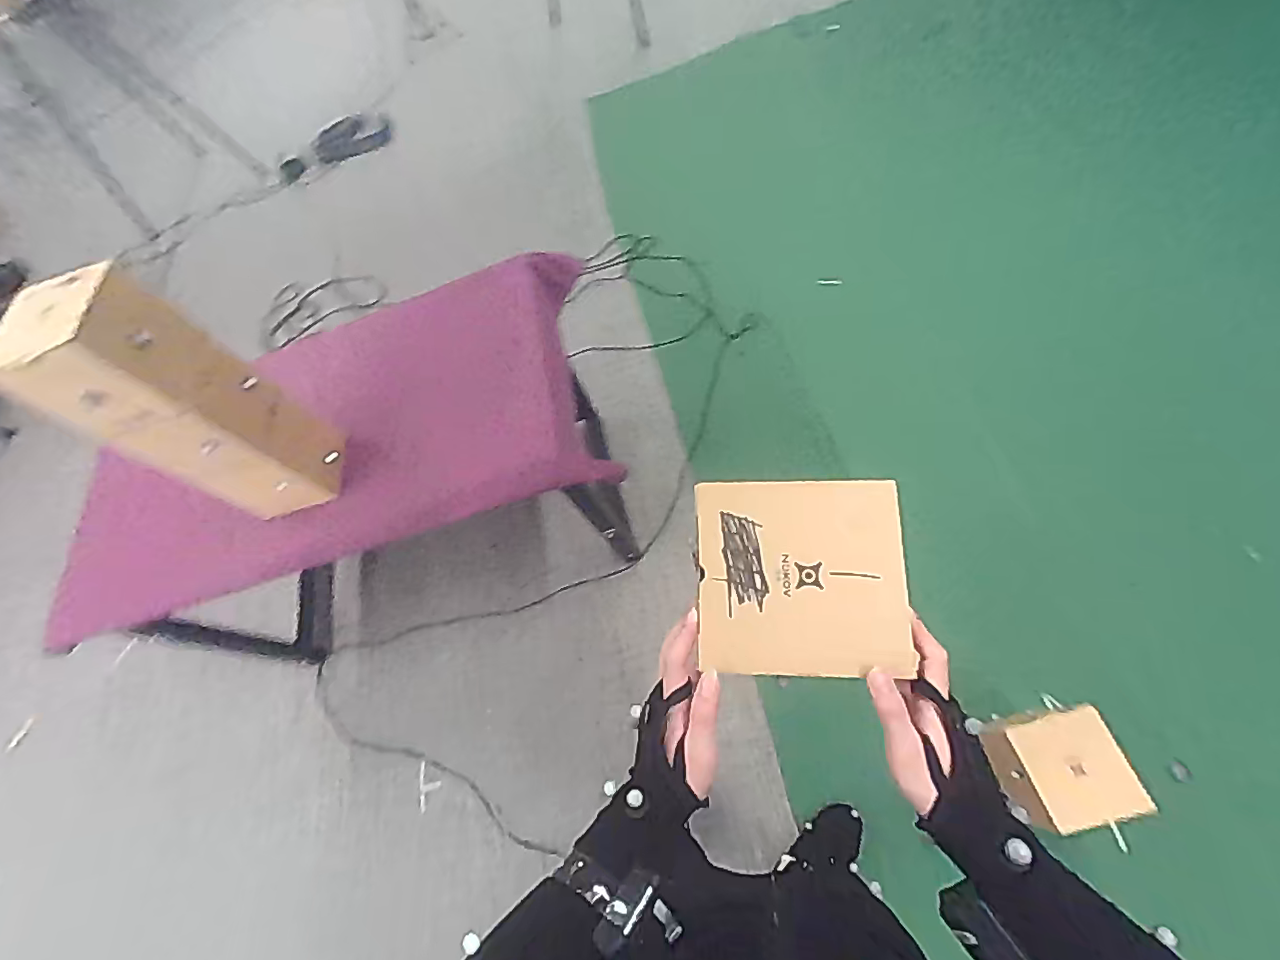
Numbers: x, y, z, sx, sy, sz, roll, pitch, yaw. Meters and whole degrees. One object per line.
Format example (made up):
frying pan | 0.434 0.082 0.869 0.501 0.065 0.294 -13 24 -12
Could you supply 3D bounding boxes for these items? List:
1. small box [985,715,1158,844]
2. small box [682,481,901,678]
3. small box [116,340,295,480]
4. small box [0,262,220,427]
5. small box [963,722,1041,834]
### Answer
small box | 0.803 0.564 1.032 0.168 0.176 0.179 -19 60 6
small box | 0.135 0.103 0.537 0.179 0.176 0.168 -1 74 7
small box | -0.778 -0.121 0.991 0.179 0.176 0.168 -14 60 8
small box | -0.817 -0.201 0.854 0.168 0.176 0.179 -13 61 7
small box | 0.844 0.636 1.173 0.168 0.176 0.179 -20 60 5
